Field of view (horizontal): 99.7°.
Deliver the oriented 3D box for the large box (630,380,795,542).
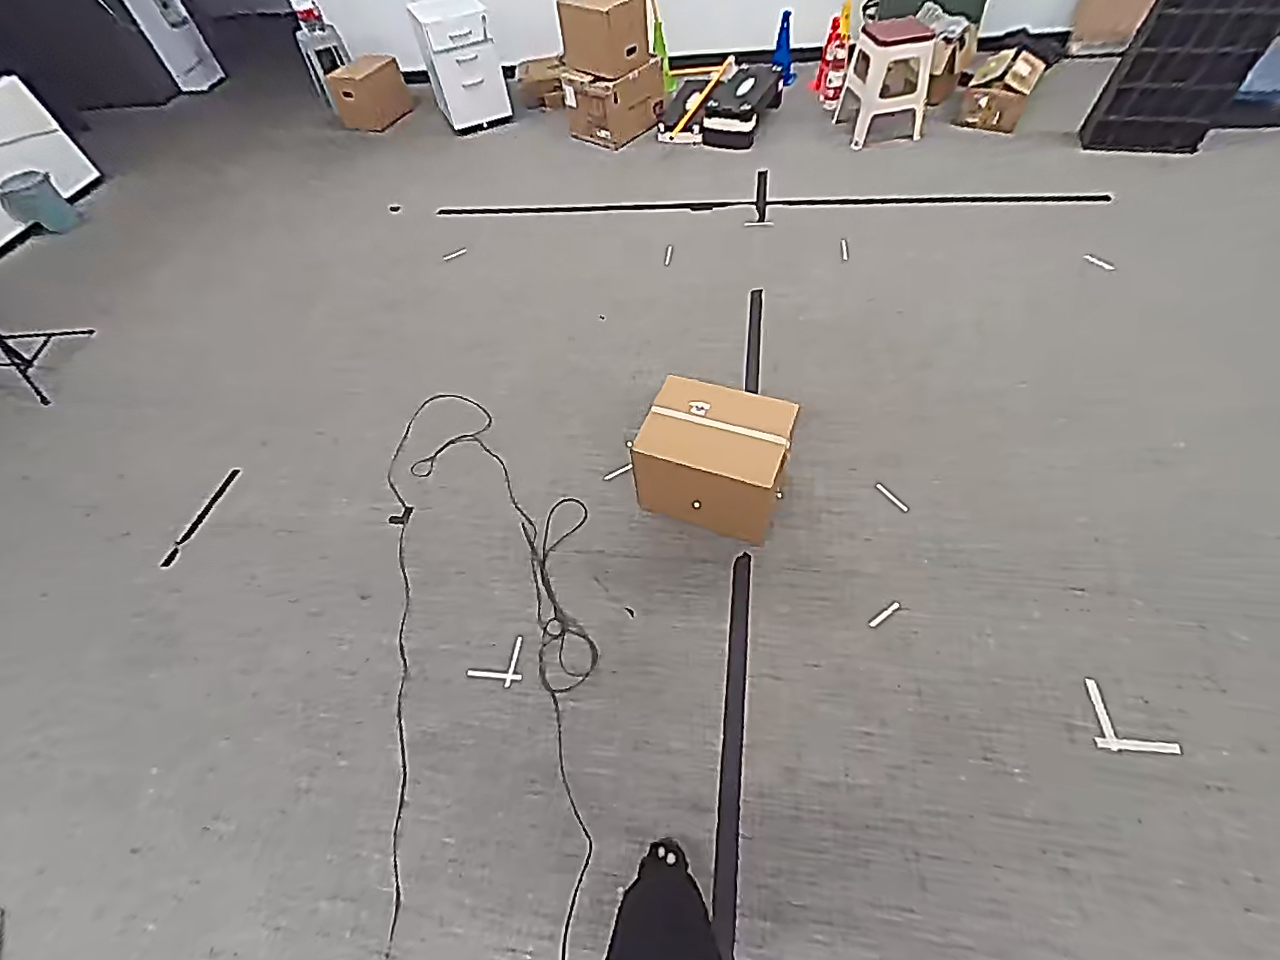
[{"bbox_3d":[0.225,-0.056,1.653,0.408,0.320,0.320,16,57,17],"label":"large box"}]
